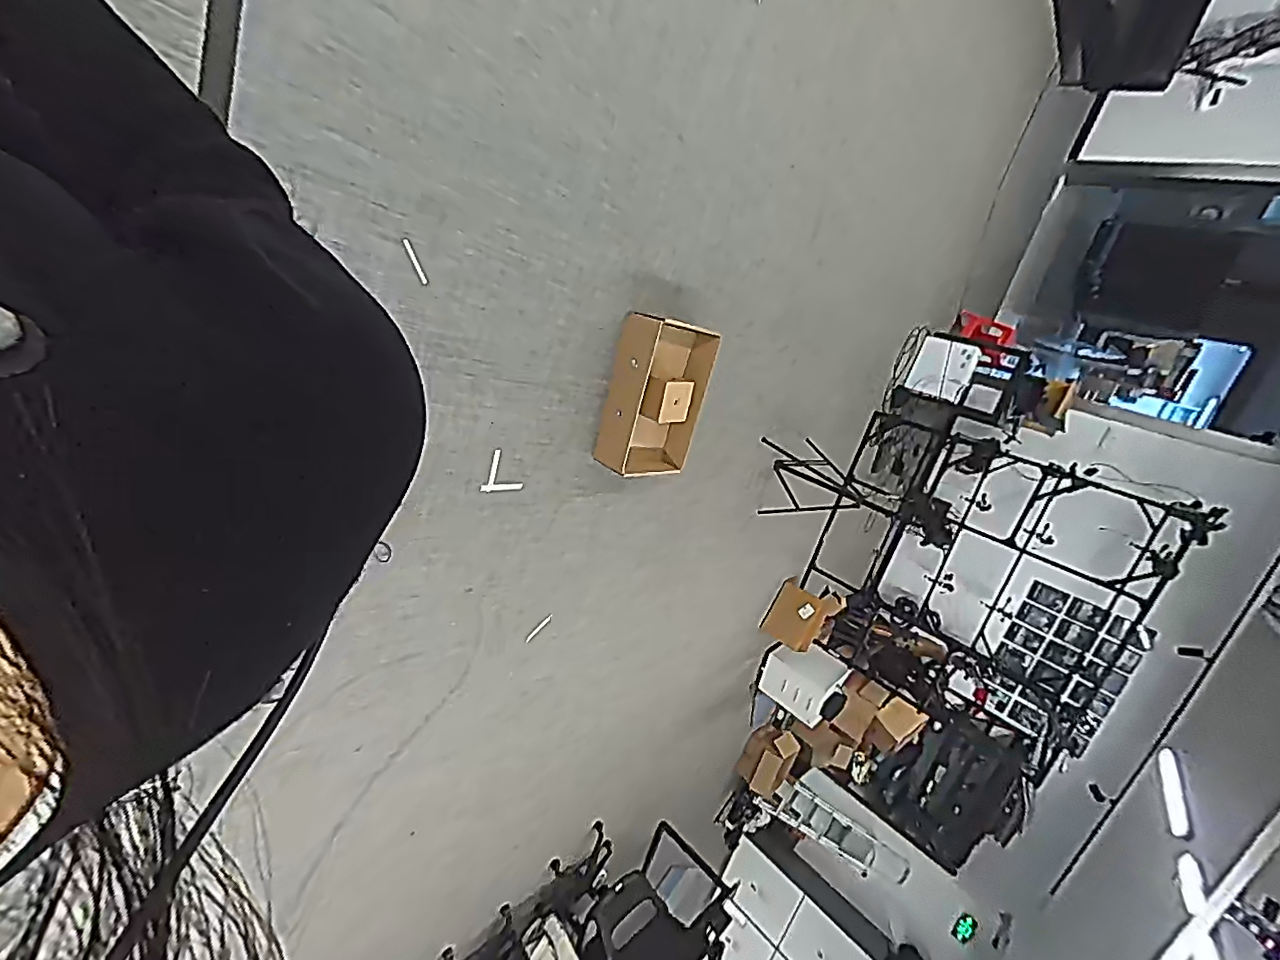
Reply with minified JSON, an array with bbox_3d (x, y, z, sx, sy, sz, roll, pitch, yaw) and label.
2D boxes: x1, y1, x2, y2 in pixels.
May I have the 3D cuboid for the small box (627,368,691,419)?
[{"bbox_3d":[0.076,-0.352,2.179,0.179,0.176,0.168,-11,120,-45],"label":"small box"}]
